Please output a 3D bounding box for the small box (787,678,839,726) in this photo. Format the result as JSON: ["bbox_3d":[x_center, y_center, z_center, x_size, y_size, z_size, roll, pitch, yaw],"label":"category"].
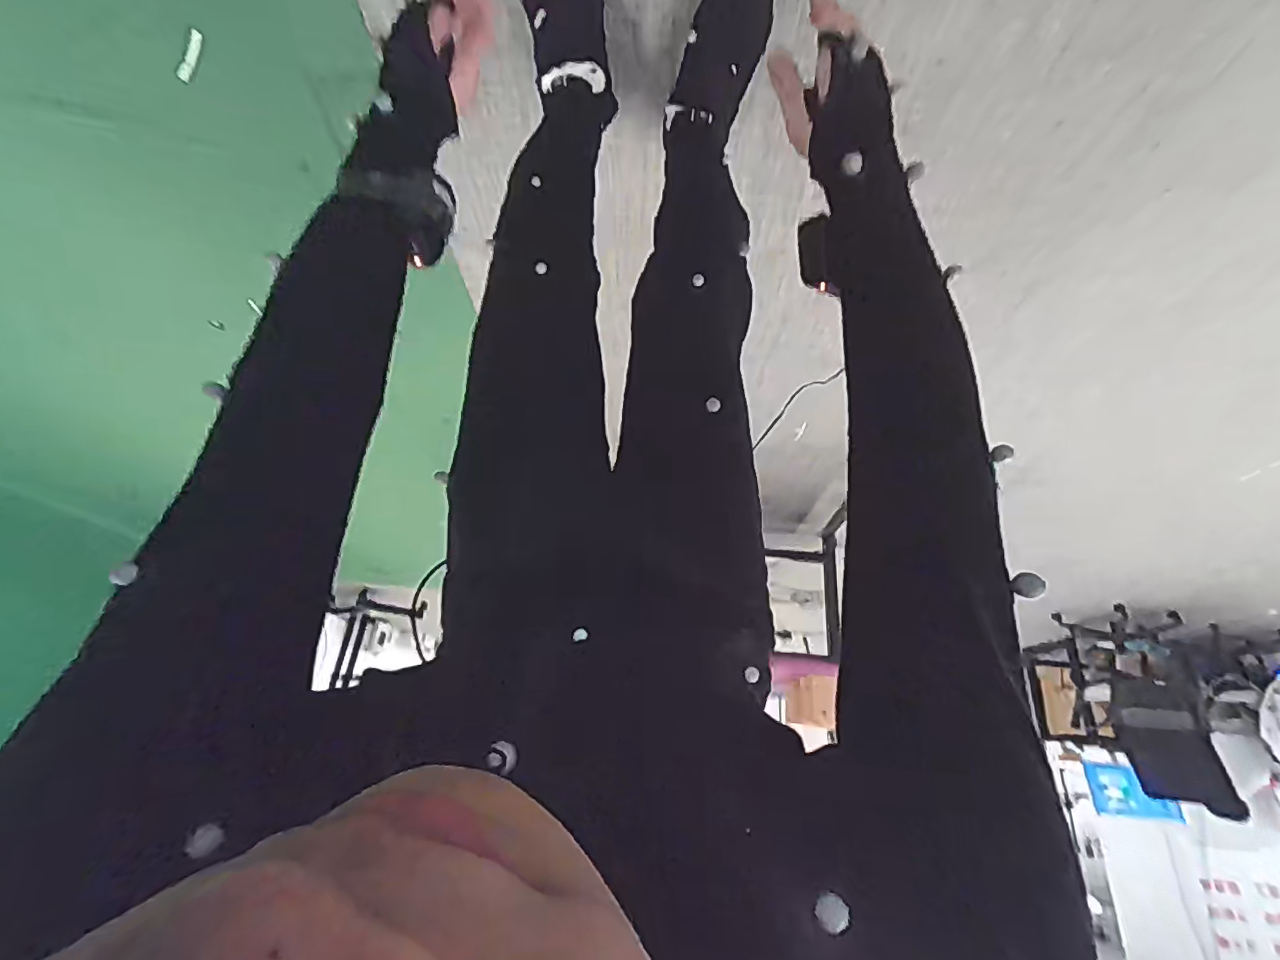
[{"bbox_3d":[0.712,0.922,2.245,0.179,0.176,0.168,3,155,6],"label":"small box"}]

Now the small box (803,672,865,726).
[{"bbox_3d":[0.706,0.800,1.982,0.179,0.176,0.168,5,157,3],"label":"small box"}]
